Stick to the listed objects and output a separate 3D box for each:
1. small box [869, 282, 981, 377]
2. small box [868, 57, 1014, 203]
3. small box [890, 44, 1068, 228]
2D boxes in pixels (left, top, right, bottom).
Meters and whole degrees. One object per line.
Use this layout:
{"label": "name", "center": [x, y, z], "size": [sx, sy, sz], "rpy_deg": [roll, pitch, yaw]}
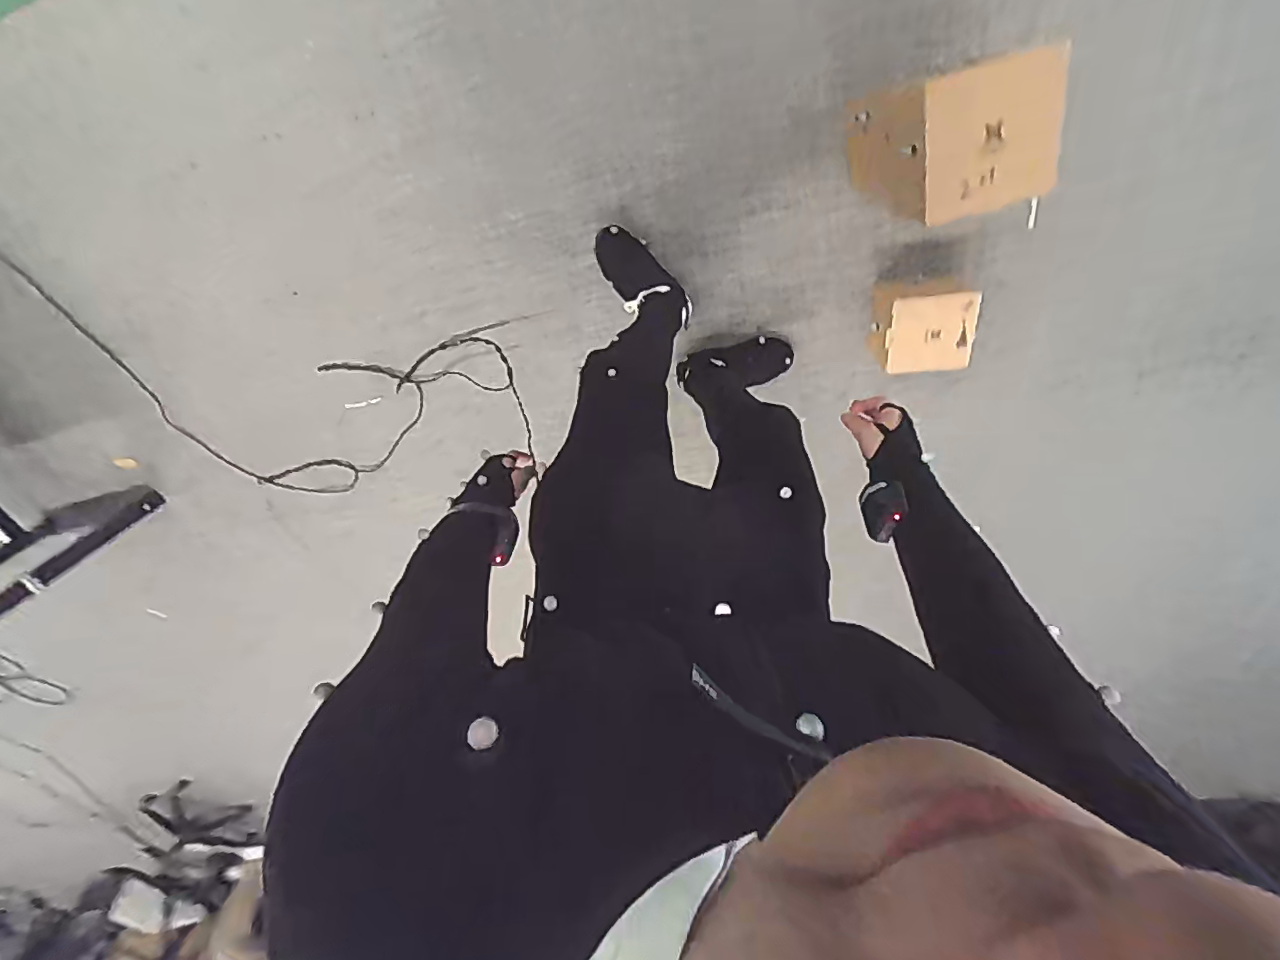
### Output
{"label": "small box", "center": [0.636, -0.345, 1.233], "size": [0.179, 0.176, 0.168], "rpy_deg": [-2, 122, 9]}
{"label": "small box", "center": [0.495, -0.579, 0.915], "size": [0.179, 0.176, 0.168], "rpy_deg": [-11, 120, 12]}
{"label": "small box", "center": [0.470, -0.485, 0.780], "size": [0.168, 0.176, 0.179], "rpy_deg": [-10, 120, 13]}
